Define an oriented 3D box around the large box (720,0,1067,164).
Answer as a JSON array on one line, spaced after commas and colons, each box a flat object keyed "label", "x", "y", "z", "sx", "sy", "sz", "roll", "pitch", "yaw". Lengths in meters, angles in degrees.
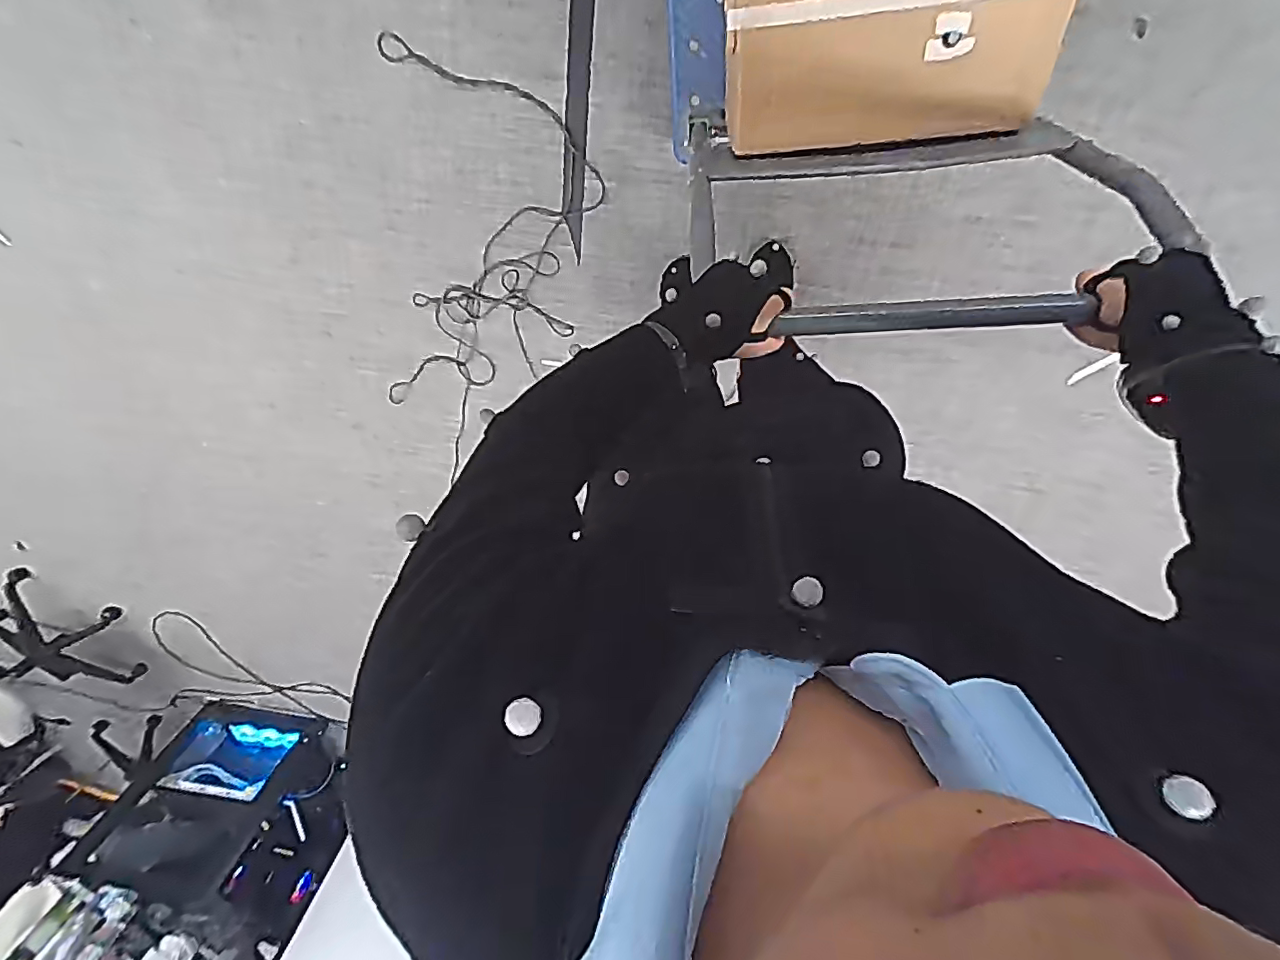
[{"label": "large box", "x": 0.326, "y": -0.680, "z": 0.778, "sx": 0.408, "sy": 0.320, "sz": 0.320, "roll": -2, "pitch": 131, "yaw": 6}]
